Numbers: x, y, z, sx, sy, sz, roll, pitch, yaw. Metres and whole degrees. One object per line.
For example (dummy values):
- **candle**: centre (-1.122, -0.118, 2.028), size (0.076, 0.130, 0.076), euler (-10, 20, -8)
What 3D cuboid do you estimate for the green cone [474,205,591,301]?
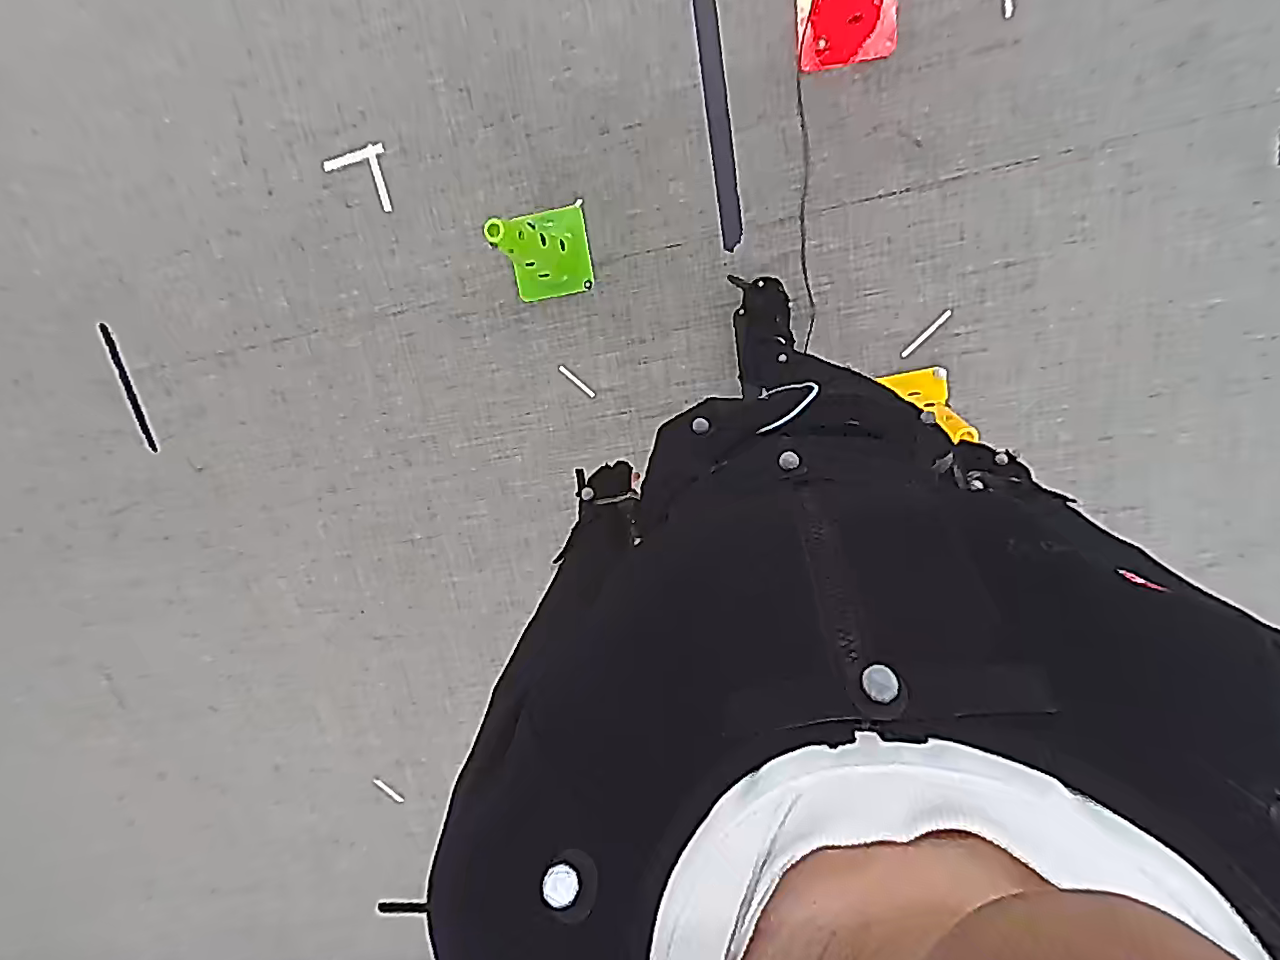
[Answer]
- **green cone**: centre (-0.258, -0.522, 1.183), size (0.202, 0.368, 0.200), euler (-7, 103, 12)

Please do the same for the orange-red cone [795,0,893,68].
- **orange-red cone**: centre (0.405, -0.945, 0.974), size (0.199, 0.360, 0.198), euler (-3, 105, 9)
